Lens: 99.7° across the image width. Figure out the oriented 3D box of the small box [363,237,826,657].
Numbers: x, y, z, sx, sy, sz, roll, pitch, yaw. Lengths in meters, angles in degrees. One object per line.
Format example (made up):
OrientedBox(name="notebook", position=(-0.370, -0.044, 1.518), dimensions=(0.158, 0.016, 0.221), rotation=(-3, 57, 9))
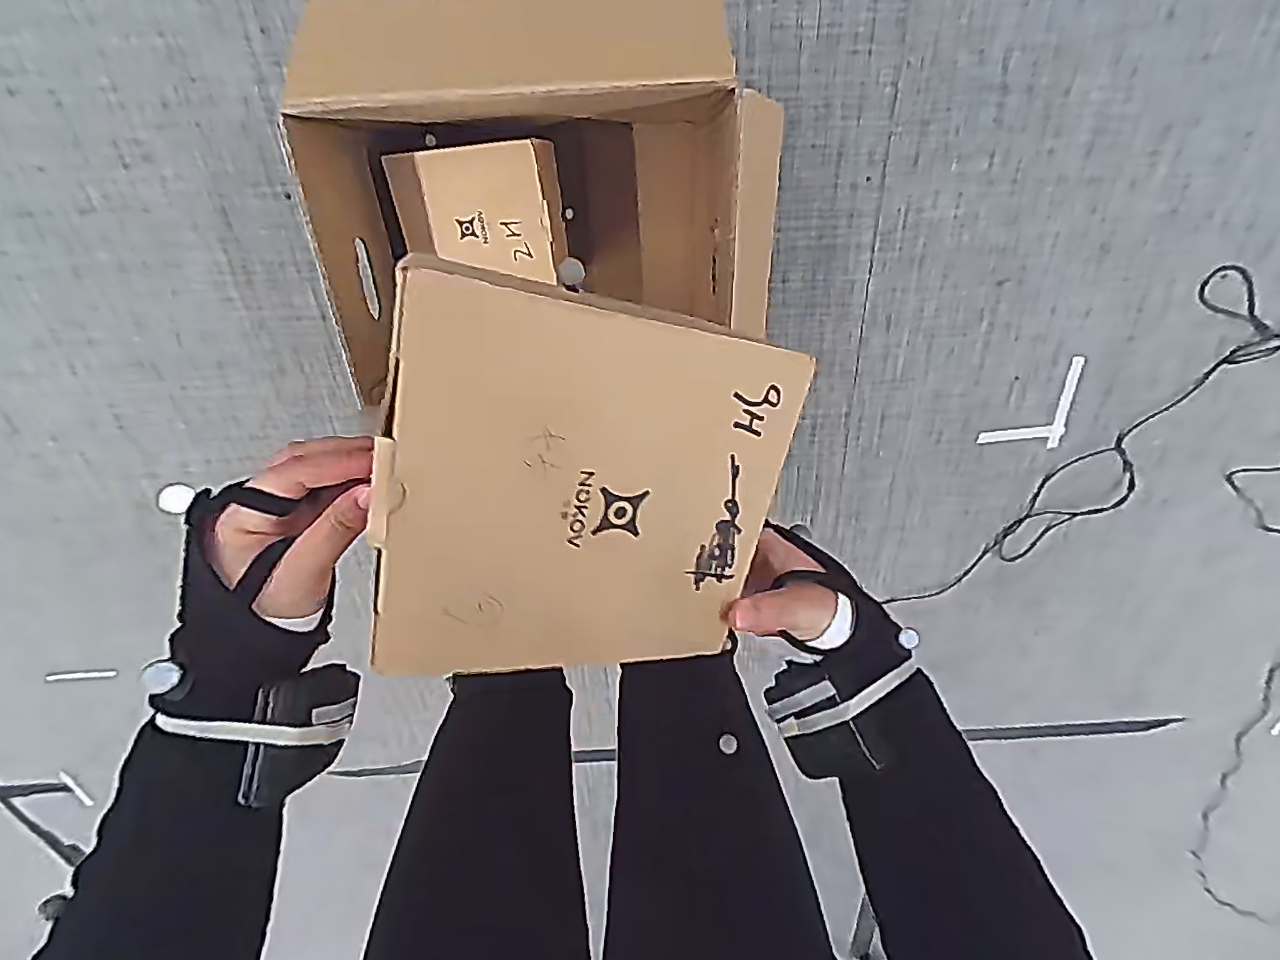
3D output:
OrientedBox(name="small box", position=(-0.040, -0.023, 0.300), dimensions=(0.179, 0.176, 0.168), rotation=(6, 110, -22))
